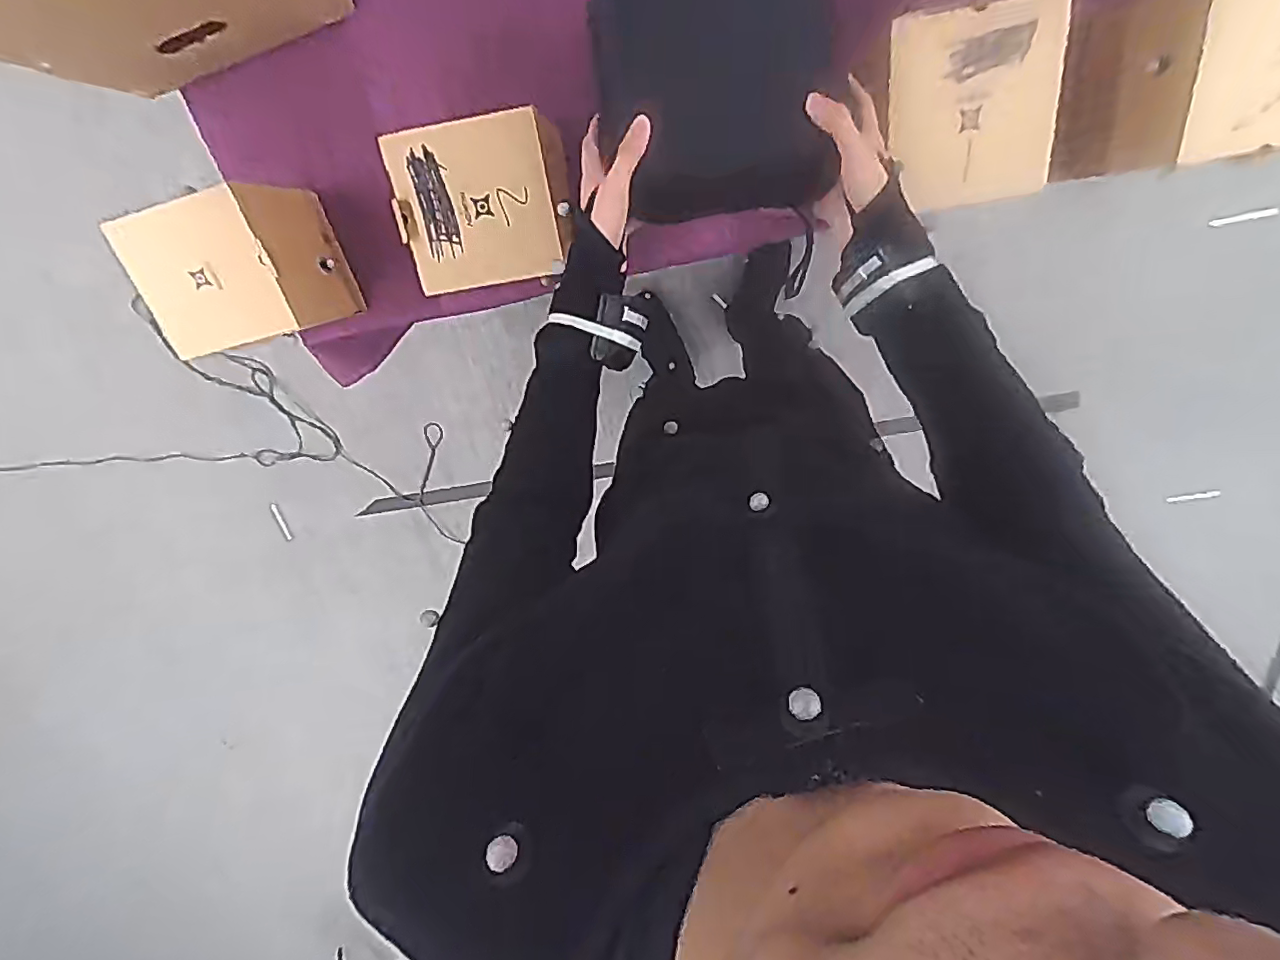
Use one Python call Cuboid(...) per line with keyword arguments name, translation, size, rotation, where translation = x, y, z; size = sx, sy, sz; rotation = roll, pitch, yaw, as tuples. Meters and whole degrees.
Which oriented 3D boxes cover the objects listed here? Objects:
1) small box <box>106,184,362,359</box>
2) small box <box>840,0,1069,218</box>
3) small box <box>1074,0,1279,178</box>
Cuboid(name="small box", translation=(-0.516, -0.274, 0.718), size=(0.179, 0.176, 0.168), rotation=(-13, 113, 7))
Cuboid(name="small box", translation=(0.333, -0.406, 0.613), size=(0.168, 0.176, 0.179), rotation=(-7, 115, 6))
Cuboid(name="small box", translation=(0.614, -0.441, 0.579), size=(0.168, 0.176, 0.179), rotation=(-6, 114, 7))
